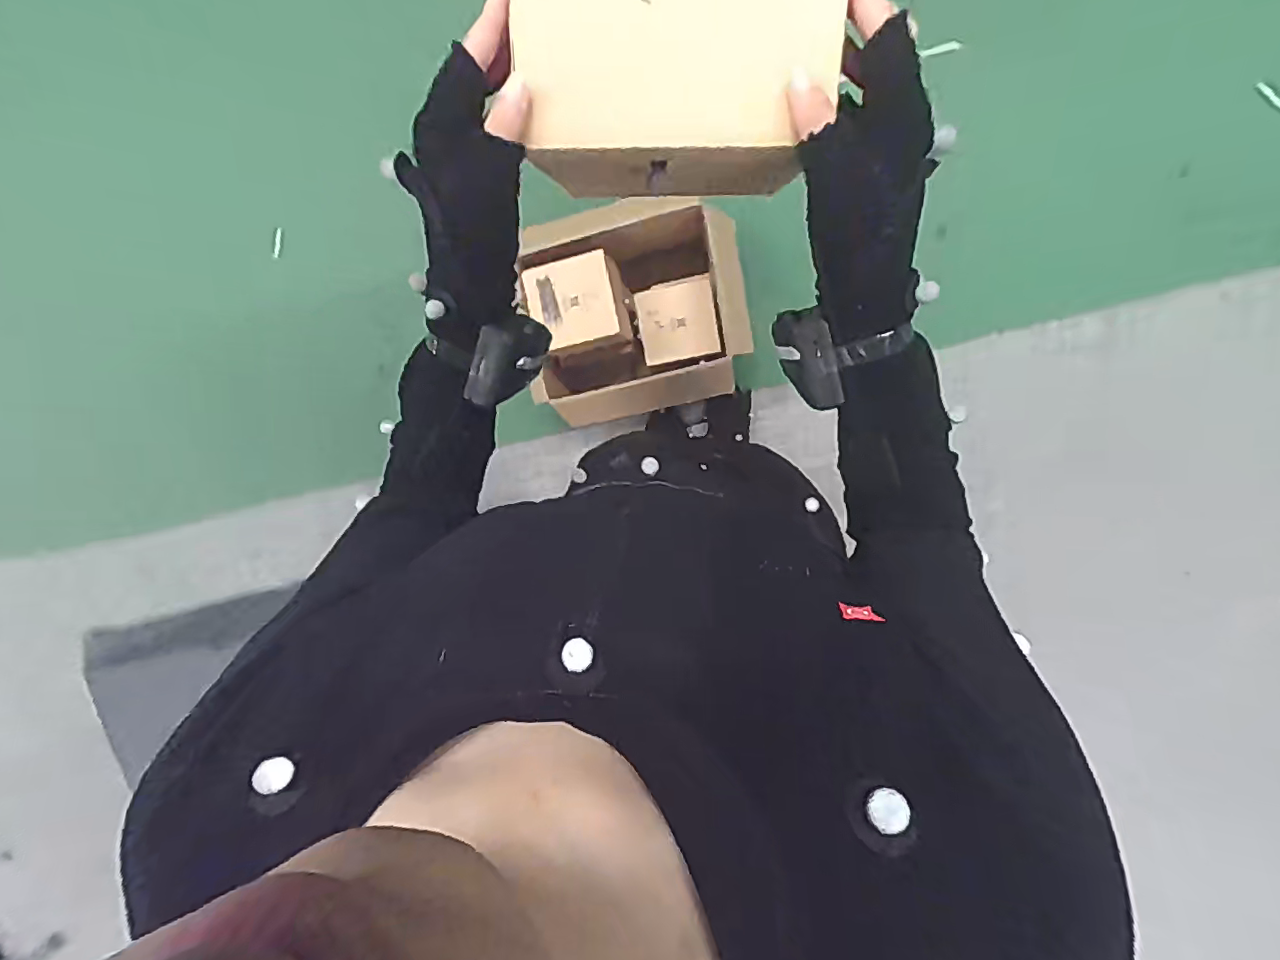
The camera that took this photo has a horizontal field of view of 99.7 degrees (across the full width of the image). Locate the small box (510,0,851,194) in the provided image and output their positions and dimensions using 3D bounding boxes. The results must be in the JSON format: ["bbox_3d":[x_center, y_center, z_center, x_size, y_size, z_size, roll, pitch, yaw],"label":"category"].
[{"bbox_3d":[0.026,-0.285,0.341,0.179,0.176,0.168,3,111,5],"label":"small box"}]
